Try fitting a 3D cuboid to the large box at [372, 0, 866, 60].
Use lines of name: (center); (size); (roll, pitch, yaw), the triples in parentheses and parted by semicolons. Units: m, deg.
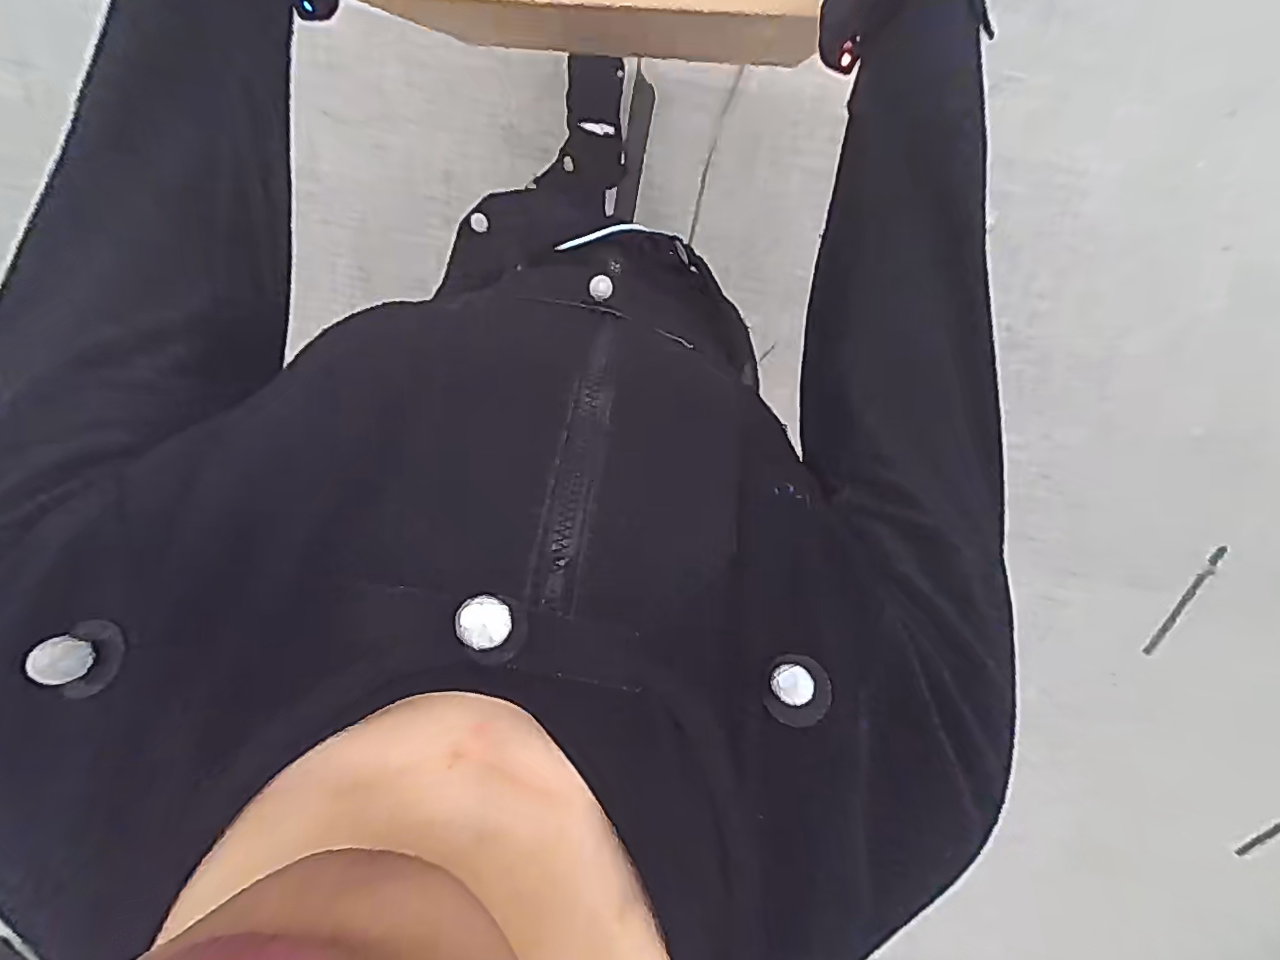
large box: (-0.014, -0.573, 0.458); (0.408, 0.320, 0.320); (4, 124, 1)
